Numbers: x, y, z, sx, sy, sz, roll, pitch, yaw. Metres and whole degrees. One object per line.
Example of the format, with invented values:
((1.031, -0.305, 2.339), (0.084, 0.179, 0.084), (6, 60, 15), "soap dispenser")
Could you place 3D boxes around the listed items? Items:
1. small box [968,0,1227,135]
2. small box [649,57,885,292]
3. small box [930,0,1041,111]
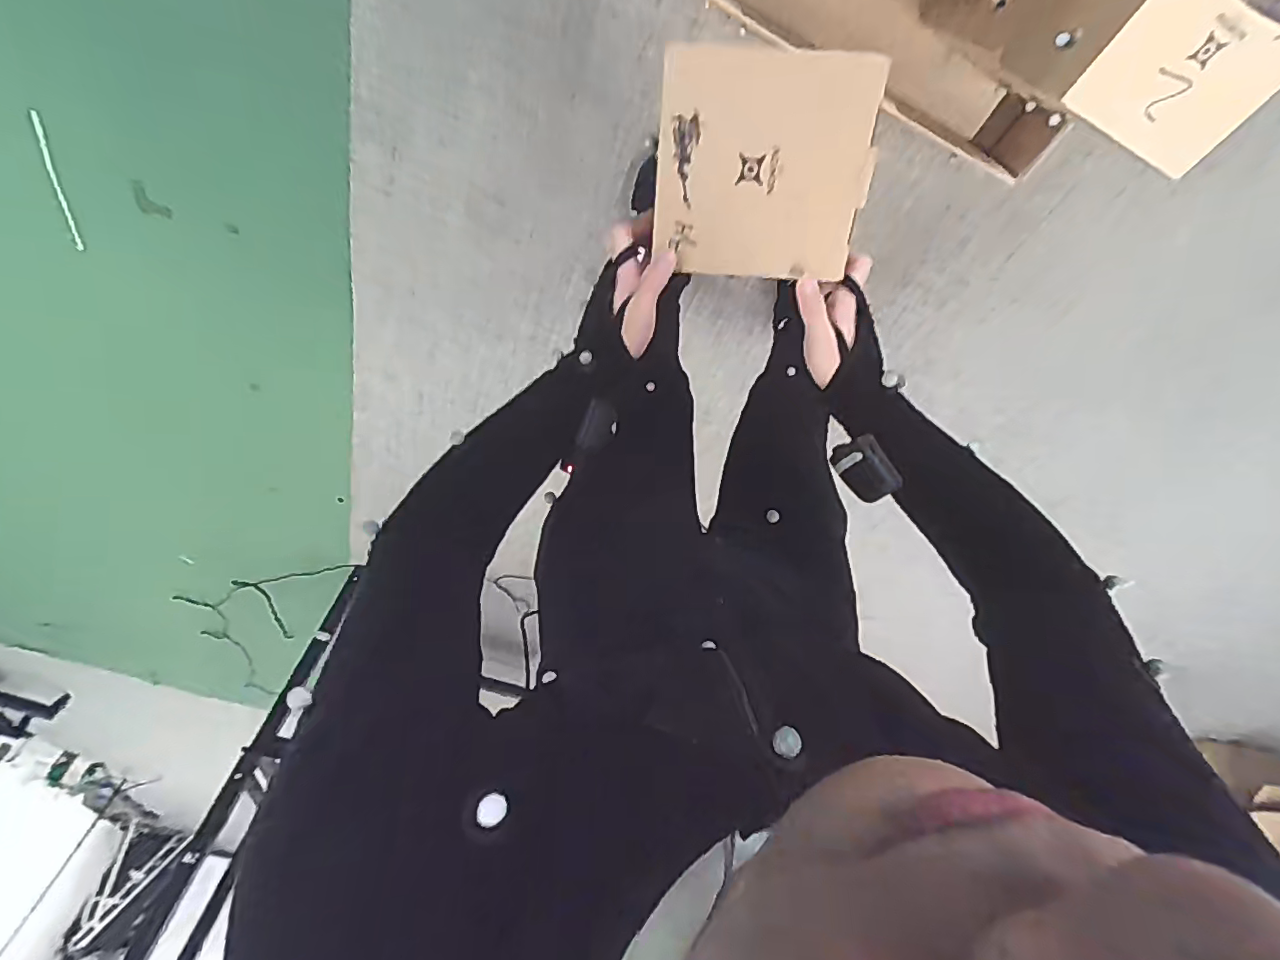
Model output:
((0.528, -0.560, 0.642), (0.168, 0.176, 0.179), (24, 133, -14), "small box")
((0.102, -0.285, 0.523), (0.179, 0.176, 0.168), (4, 117, 2), "small box")
((0.551, -0.668, 0.761), (0.179, 0.176, 0.168), (25, 132, -13), "small box")
